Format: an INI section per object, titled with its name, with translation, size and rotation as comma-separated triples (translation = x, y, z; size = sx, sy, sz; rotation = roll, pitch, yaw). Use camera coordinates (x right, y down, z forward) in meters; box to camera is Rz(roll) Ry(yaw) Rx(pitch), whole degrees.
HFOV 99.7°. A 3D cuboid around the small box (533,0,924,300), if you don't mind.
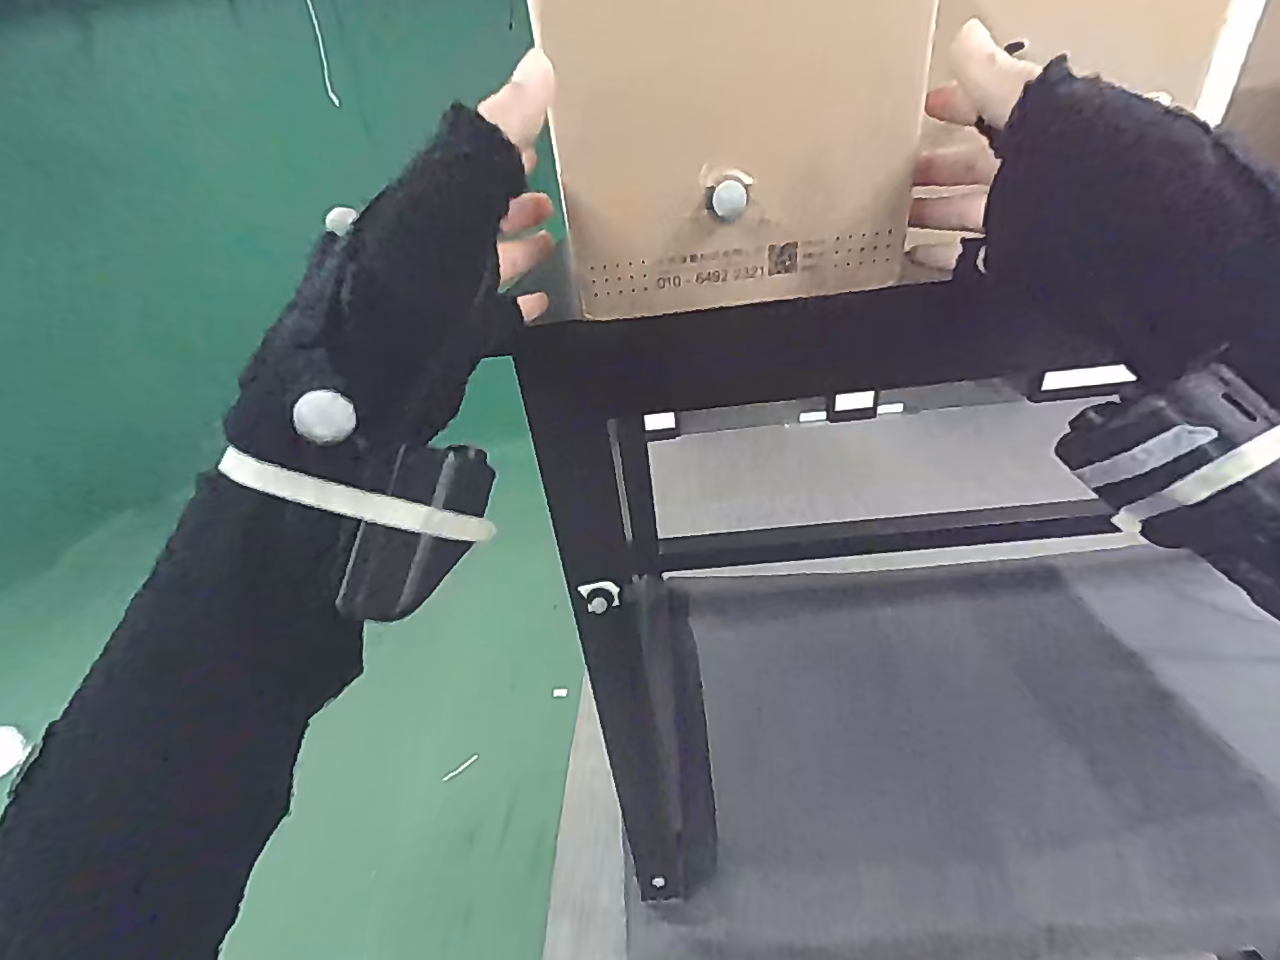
[small box]
translation = 0.036, -0.209, 0.311
size = 0.168, 0.176, 0.179
rotation = -6, 30, 1
